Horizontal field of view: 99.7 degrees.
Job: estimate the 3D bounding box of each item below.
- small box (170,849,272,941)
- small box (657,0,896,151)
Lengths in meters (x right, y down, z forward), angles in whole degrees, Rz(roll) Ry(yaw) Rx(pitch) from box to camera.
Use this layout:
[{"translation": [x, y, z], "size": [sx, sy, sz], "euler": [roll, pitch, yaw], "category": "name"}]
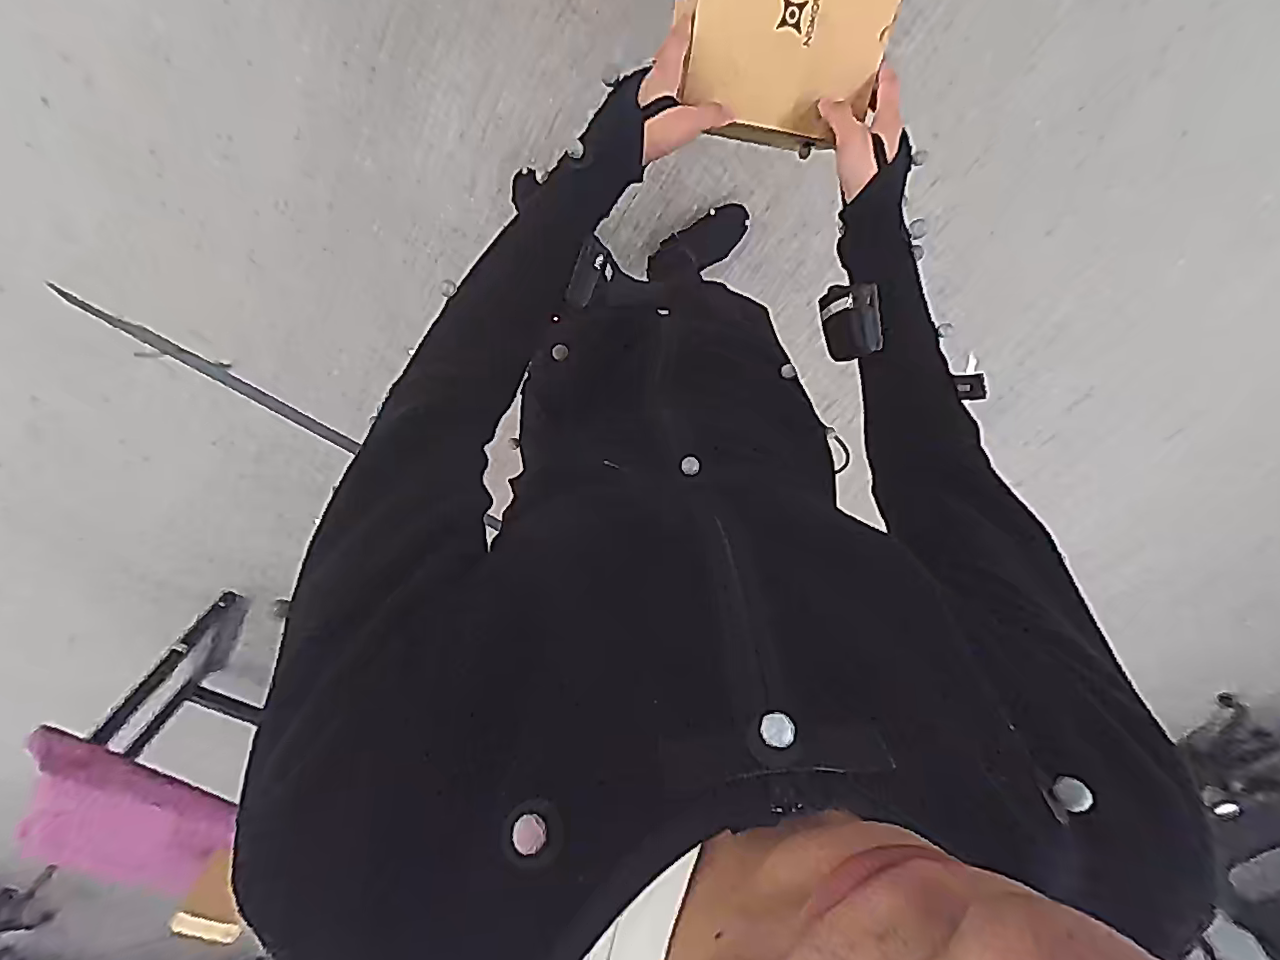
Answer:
[{"translation": [-1.288, 1.275, 1.668], "size": [0.179, 0.176, 0.168], "euler": [29, 120, -14], "category": "small box"}, {"translation": [0.119, -0.427, 0.524], "size": [0.179, 0.176, 0.168], "euler": [4, 120, -9], "category": "small box"}]
